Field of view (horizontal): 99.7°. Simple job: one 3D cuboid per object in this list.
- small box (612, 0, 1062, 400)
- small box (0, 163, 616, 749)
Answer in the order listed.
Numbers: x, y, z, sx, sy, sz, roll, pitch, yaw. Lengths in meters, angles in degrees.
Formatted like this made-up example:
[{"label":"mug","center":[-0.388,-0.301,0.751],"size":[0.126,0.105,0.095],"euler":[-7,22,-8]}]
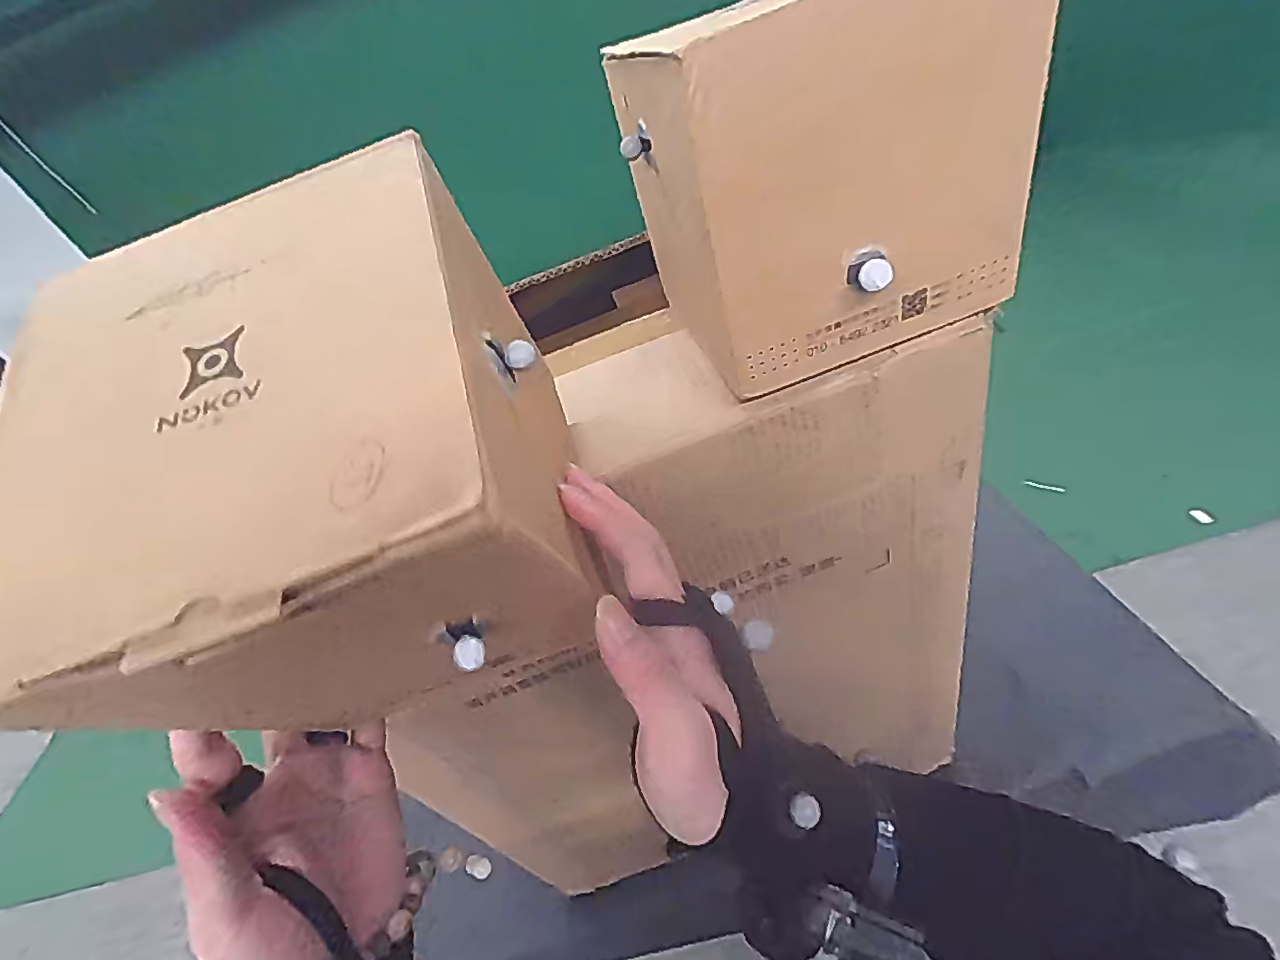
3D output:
[{"label":"small box","center":[0.096,-0.176,0.326],"size":[0.168,0.176,0.179],"euler":[-20,40,1]},{"label":"small box","center":[-0.121,0.005,0.253],"size":[0.168,0.176,0.179],"euler":[-20,63,1]}]
